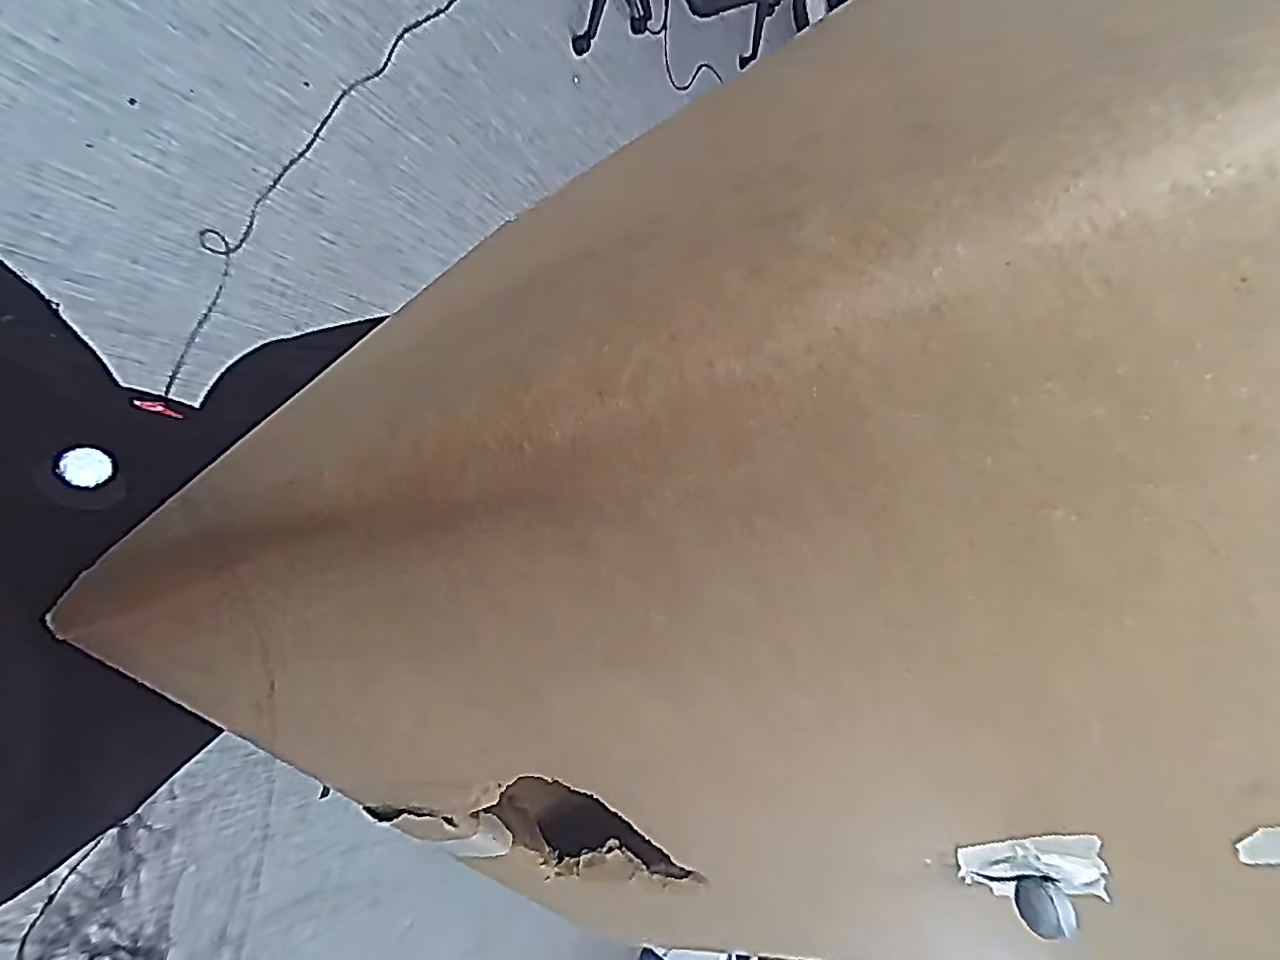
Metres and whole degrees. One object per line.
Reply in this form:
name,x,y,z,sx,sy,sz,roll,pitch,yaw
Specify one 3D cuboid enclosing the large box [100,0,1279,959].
large box,0.065,-0.021,0.324,0.320,0.320,0.408,58,29,-31
